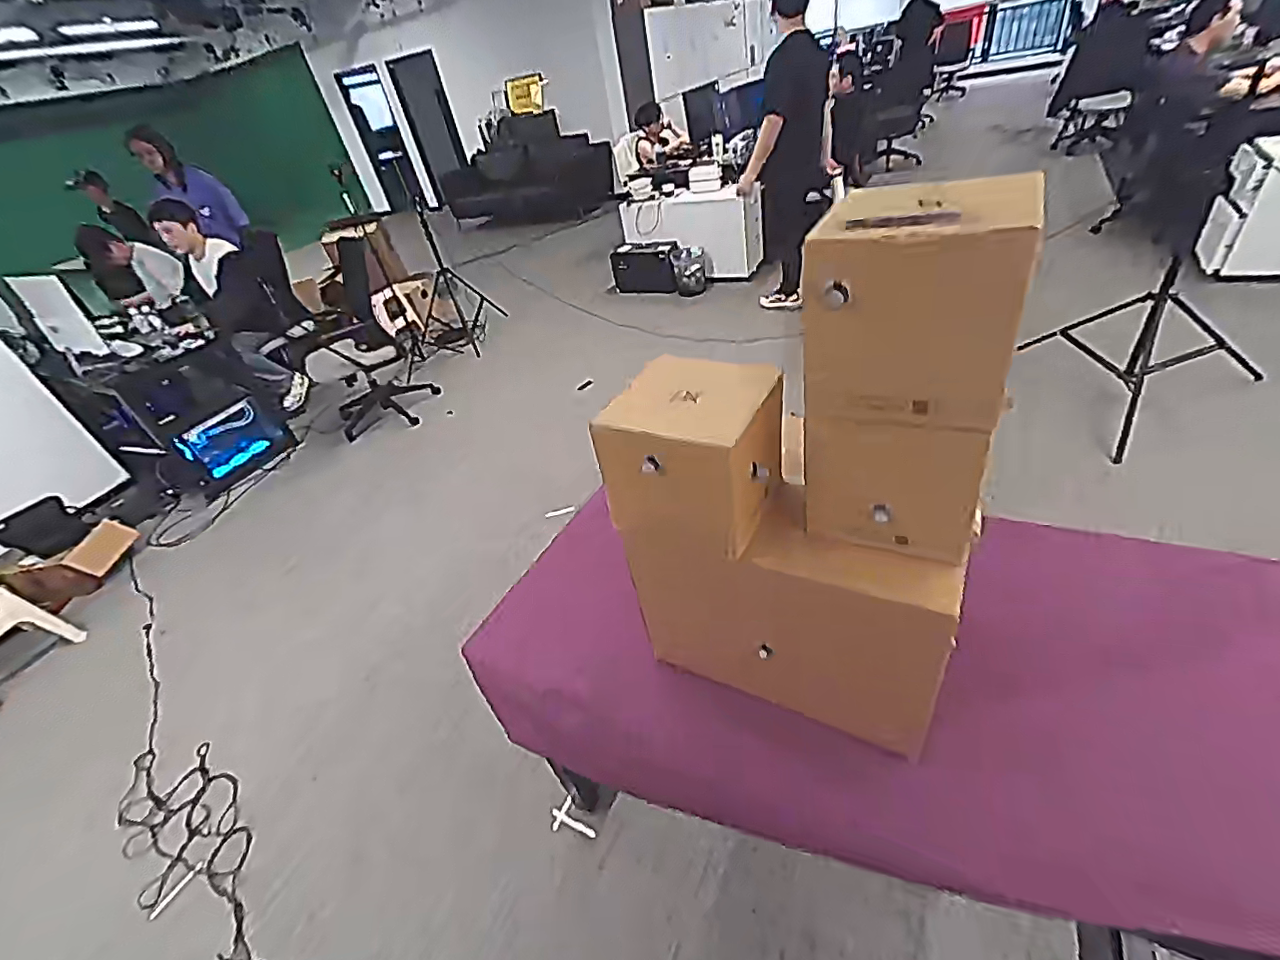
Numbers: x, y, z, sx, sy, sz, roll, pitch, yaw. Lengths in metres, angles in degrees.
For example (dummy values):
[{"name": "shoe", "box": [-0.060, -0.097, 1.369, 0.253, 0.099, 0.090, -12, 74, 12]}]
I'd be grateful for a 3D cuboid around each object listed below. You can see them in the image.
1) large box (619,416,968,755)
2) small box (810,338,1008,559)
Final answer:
[{"name": "large box", "box": [0.241, 0.129, 0.806, 0.408, 0.320, 0.320, 11, 41, 29]}, {"name": "small box", "box": [0.293, -0.042, 0.603, 0.168, 0.176, 0.179, 10, 42, 30]}]
